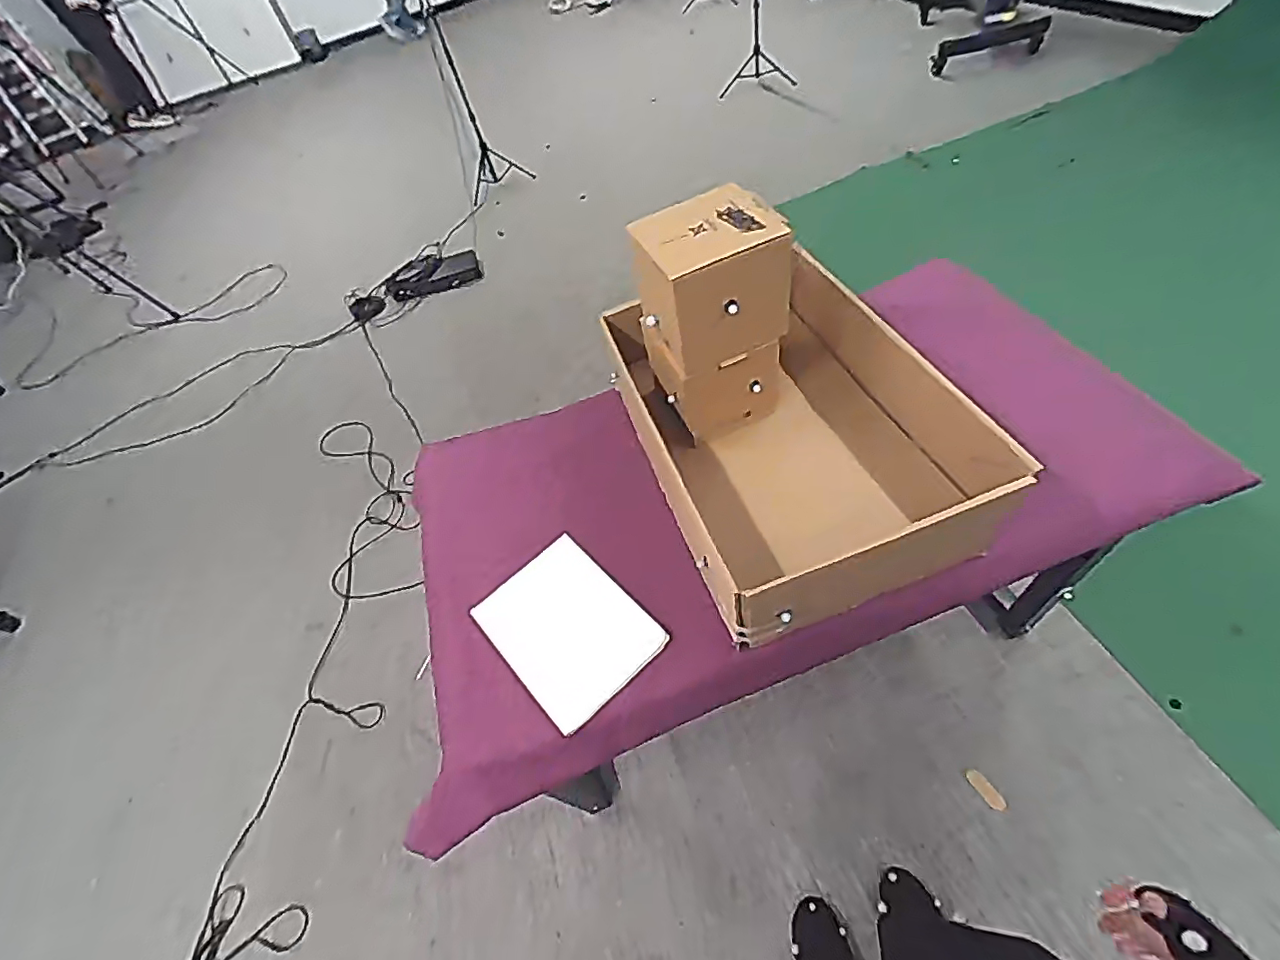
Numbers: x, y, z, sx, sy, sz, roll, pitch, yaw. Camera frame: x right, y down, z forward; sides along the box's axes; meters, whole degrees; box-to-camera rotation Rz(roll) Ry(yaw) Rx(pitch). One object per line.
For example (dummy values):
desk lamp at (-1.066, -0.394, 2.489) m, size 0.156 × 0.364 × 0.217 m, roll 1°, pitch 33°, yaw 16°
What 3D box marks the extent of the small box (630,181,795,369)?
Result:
small box at (0.105, -0.296, 0.794) m, size 0.179 × 0.176 × 0.168 m, roll -24°, pitch 53°, yaw -5°
